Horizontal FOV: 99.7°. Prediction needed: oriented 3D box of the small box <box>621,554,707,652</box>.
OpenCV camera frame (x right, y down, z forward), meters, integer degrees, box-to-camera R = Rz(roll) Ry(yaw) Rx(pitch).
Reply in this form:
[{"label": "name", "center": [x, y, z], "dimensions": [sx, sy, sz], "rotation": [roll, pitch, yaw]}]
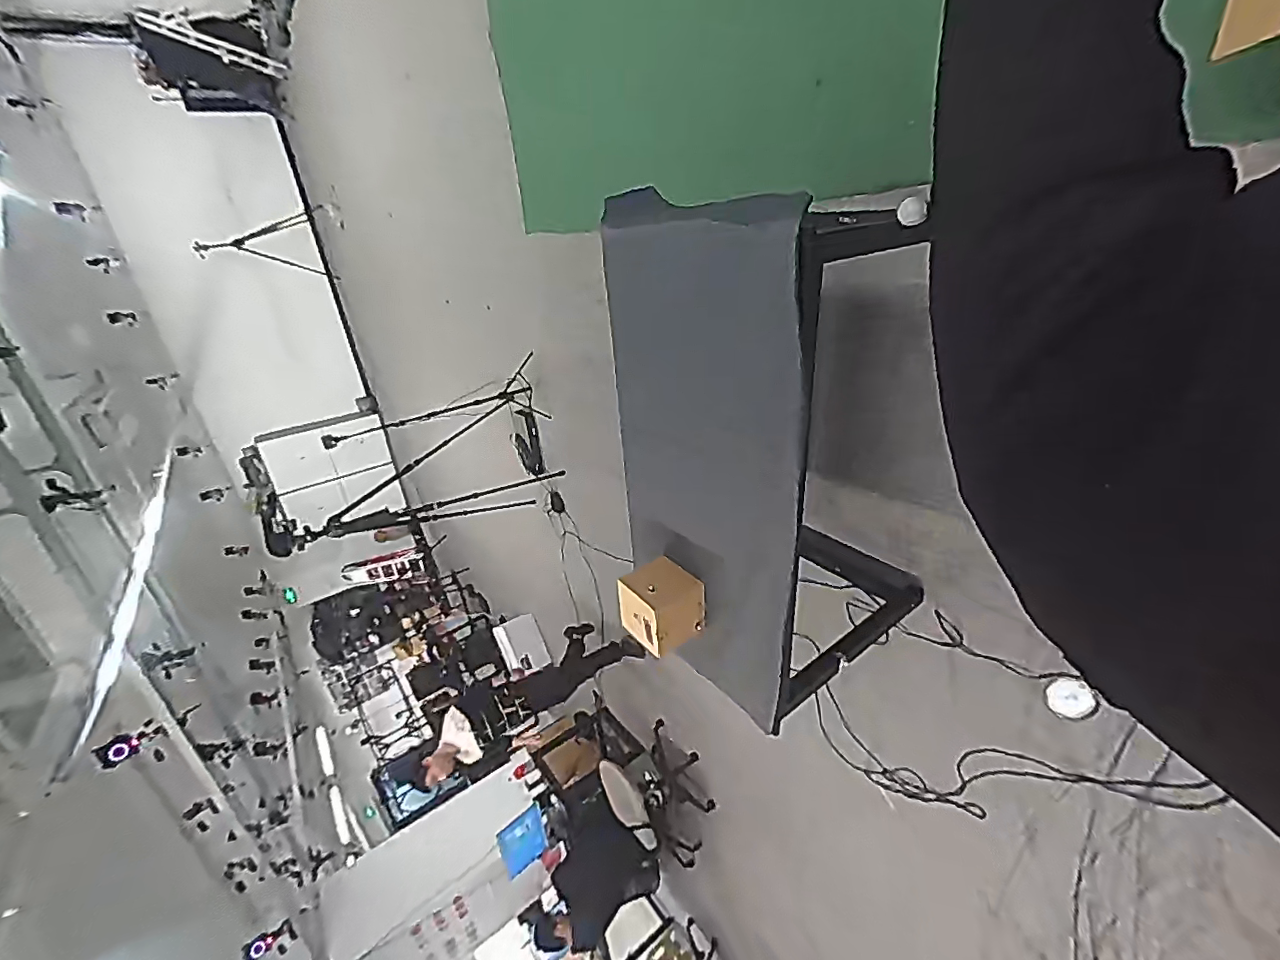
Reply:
[{"label": "small box", "center": [0.071, 0.330, 1.492], "dimensions": [0.179, 0.176, 0.168], "rotation": [30, 132, 48]}]
